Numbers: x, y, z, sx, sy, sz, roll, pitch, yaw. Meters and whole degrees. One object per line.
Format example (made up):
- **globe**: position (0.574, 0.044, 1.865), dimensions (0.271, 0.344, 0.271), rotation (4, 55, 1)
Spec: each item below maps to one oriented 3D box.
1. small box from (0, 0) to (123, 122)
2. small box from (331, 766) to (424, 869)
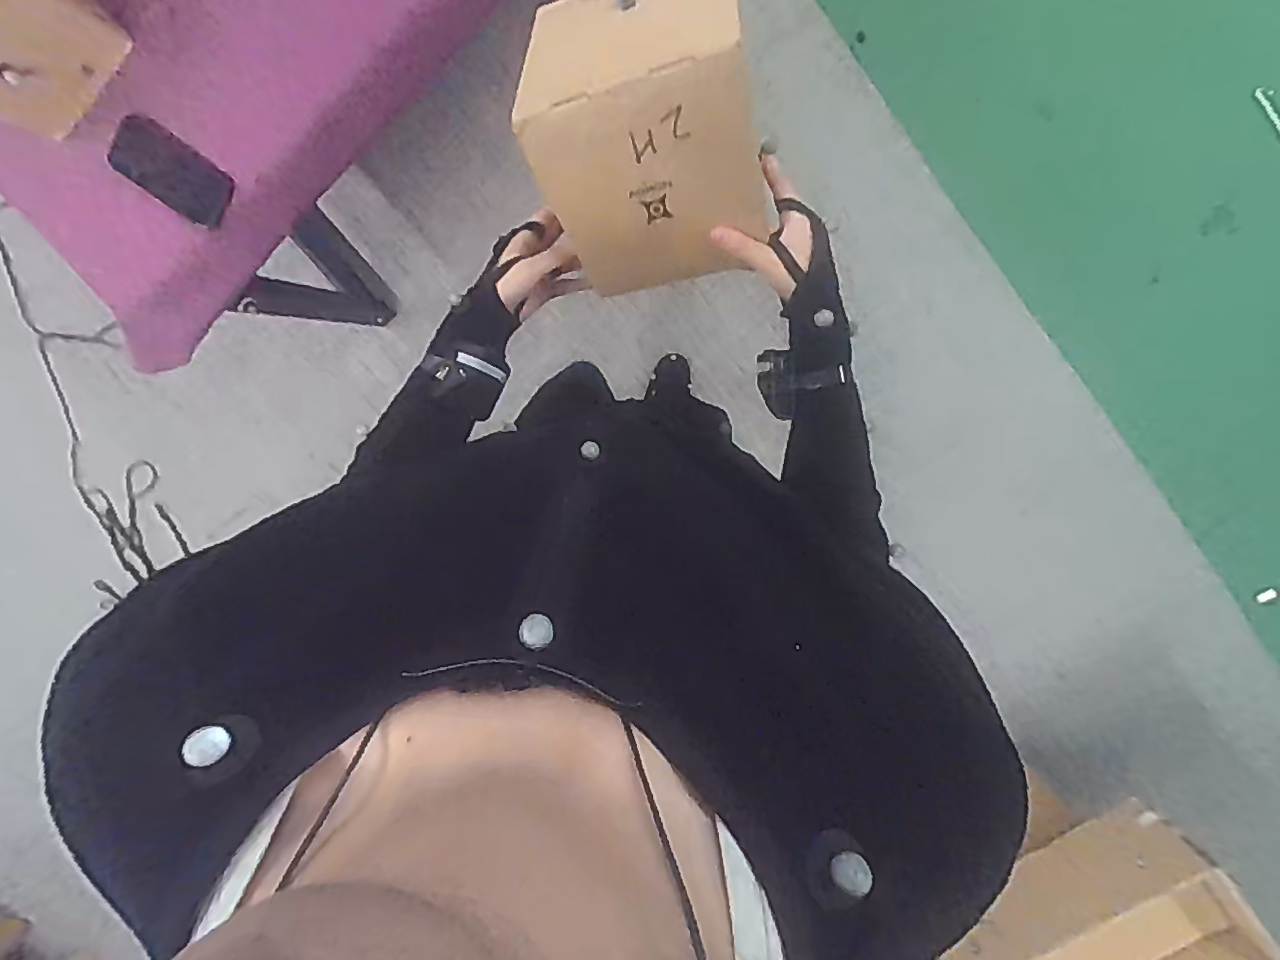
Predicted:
- **small box**: position (-0.744, -0.535, 0.590), dimensions (0.168, 0.176, 0.179), rotation (-41, 98, 10)
- **small box**: position (-0.809, 1.048, 1.689), dimensions (0.168, 0.176, 0.179), rotation (39, 100, -8)
